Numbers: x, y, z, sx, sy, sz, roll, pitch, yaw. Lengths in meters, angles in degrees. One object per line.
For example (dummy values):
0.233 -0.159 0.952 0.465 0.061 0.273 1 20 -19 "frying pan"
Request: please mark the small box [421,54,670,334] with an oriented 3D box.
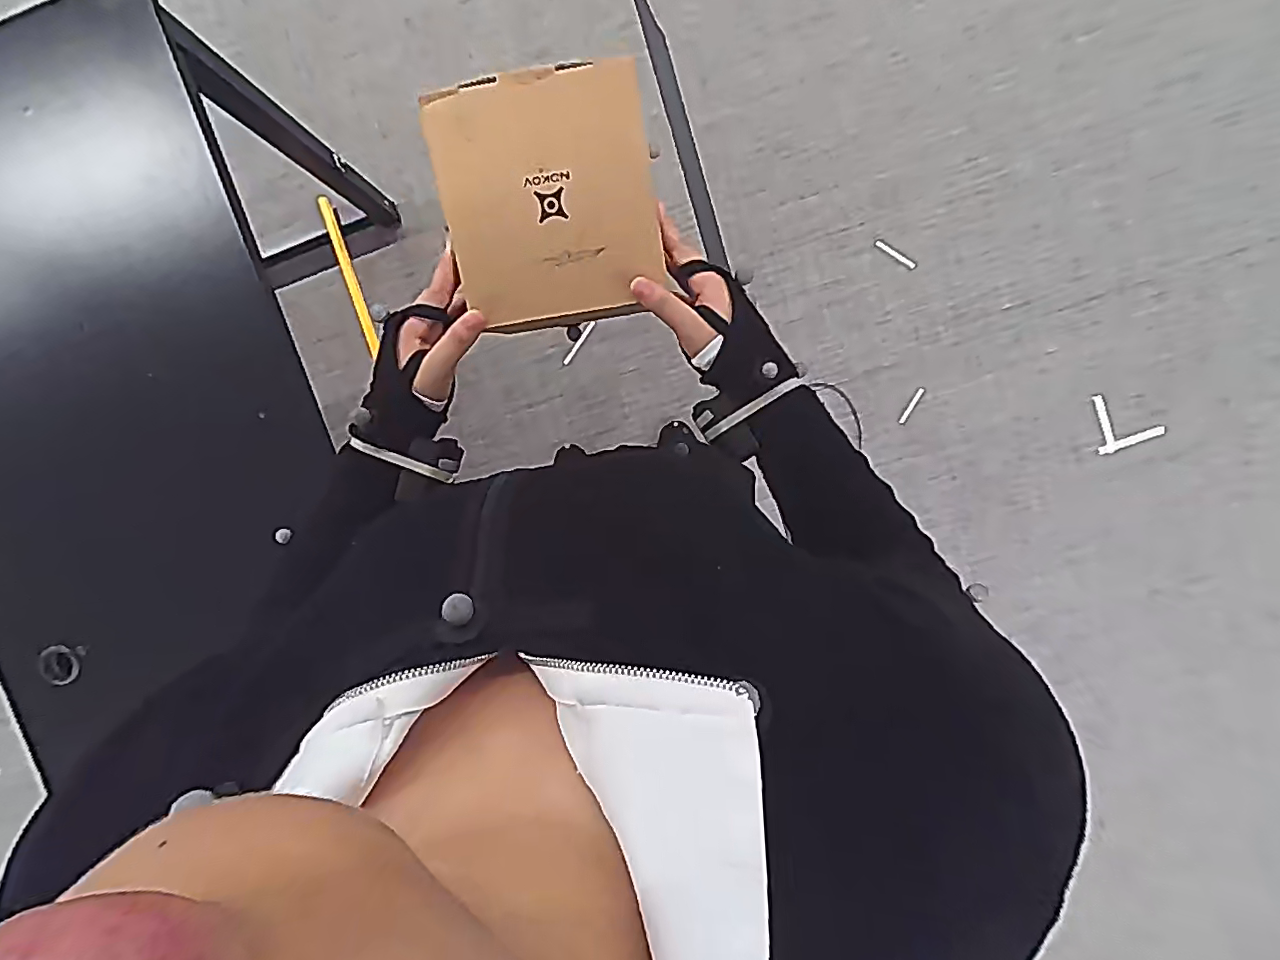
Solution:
-0.070 -0.233 0.488 0.168 0.176 0.179 -9 105 1 "small box"
